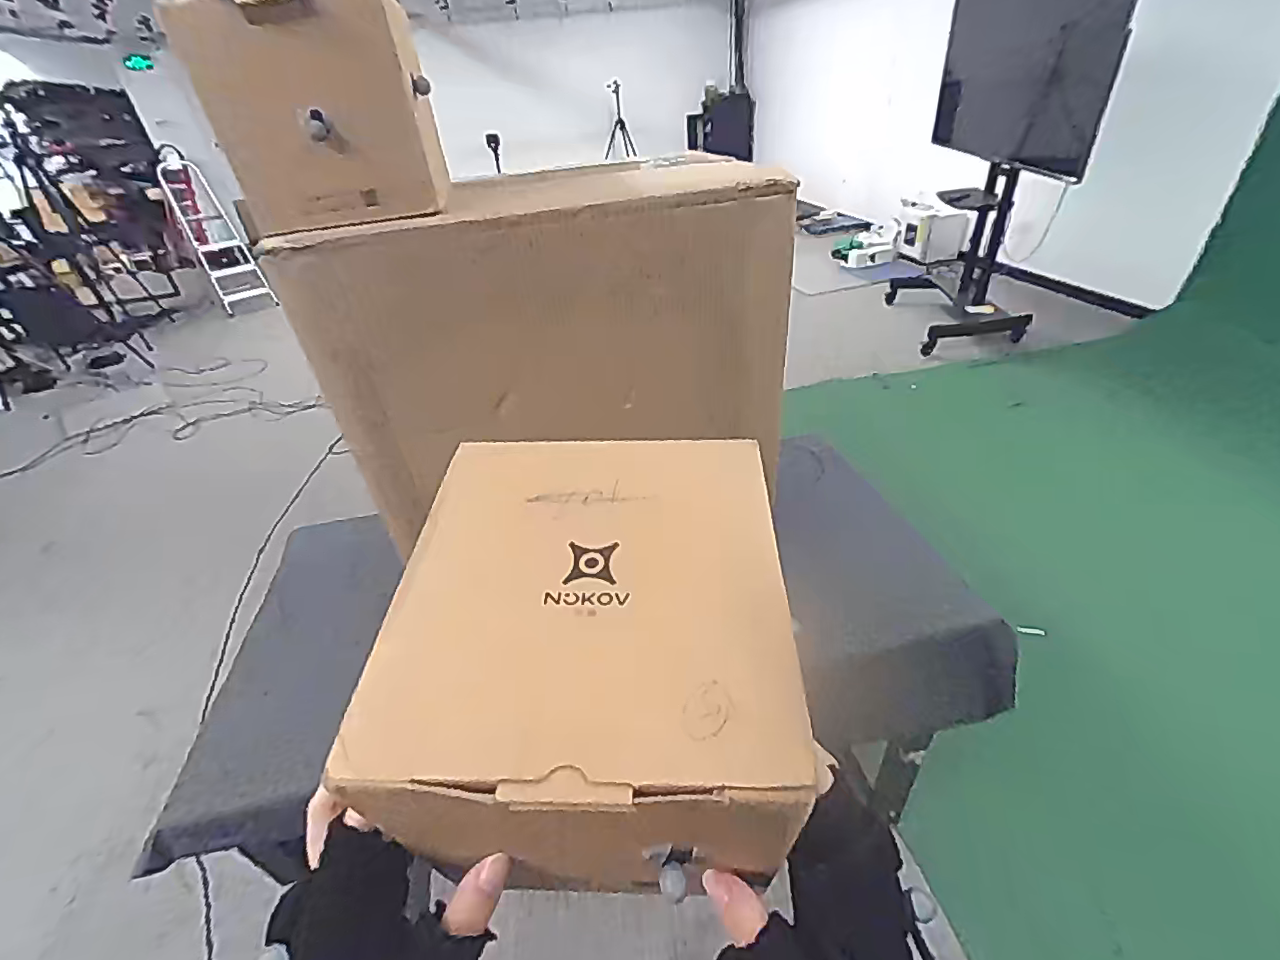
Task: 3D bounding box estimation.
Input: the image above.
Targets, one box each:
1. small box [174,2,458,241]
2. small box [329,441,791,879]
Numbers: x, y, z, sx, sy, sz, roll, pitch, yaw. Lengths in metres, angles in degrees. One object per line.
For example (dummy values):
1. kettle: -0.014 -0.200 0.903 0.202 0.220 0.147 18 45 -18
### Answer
1. small box: -0.288 -0.345 0.535 0.168 0.176 0.179 -11 37 -7
2. small box: -0.021 0.097 0.298 0.168 0.176 0.179 0 43 3
